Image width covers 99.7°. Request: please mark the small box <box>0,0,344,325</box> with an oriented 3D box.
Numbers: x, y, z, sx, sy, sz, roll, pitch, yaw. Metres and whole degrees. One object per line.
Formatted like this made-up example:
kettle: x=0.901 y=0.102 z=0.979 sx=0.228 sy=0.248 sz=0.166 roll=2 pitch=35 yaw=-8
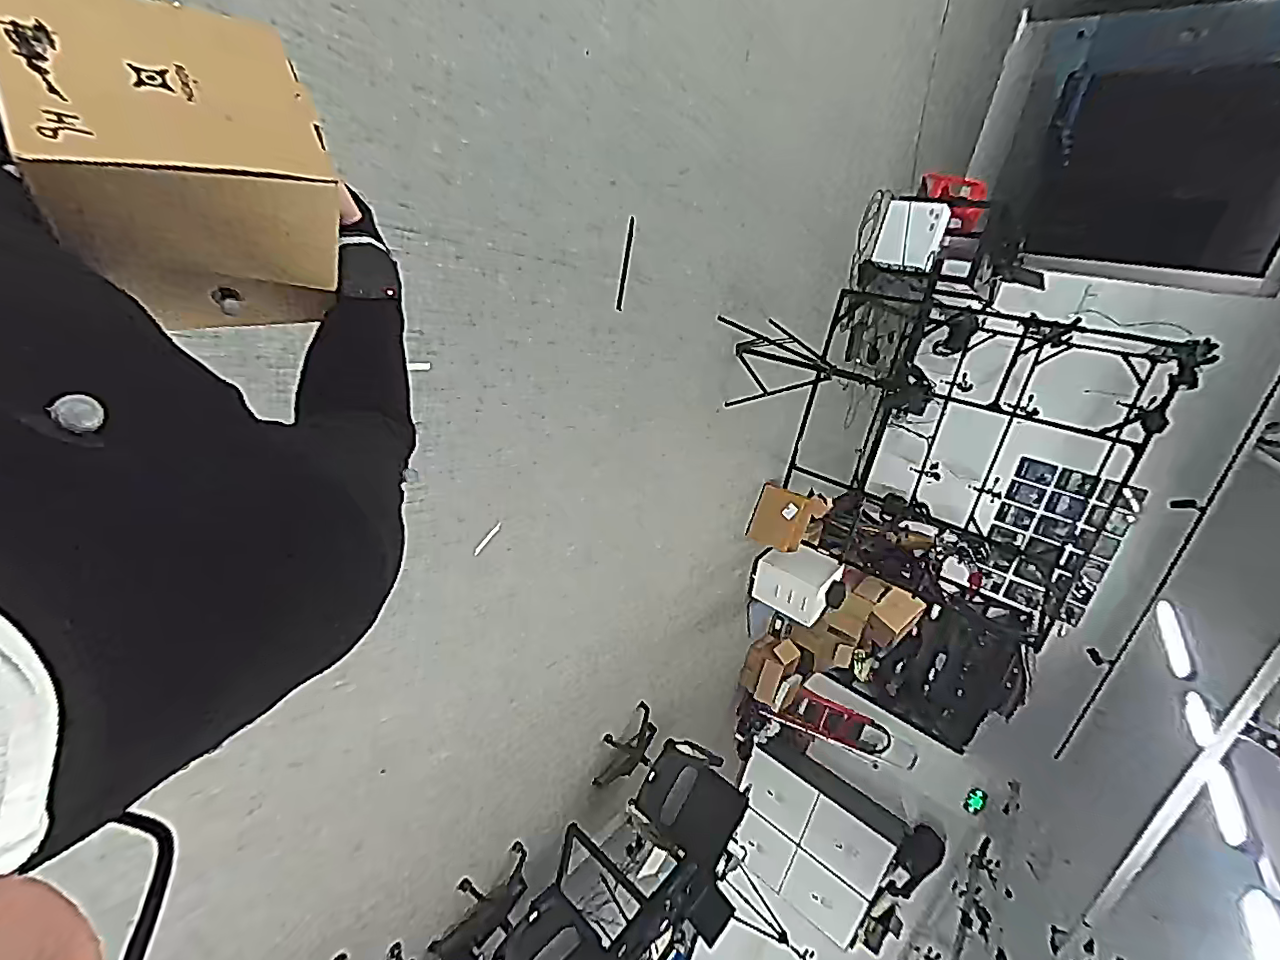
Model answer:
small box: x=-0.377 y=-0.253 z=0.464 sx=0.179 sy=0.168 sz=0.176 roll=-17 pitch=164 yaw=-36
